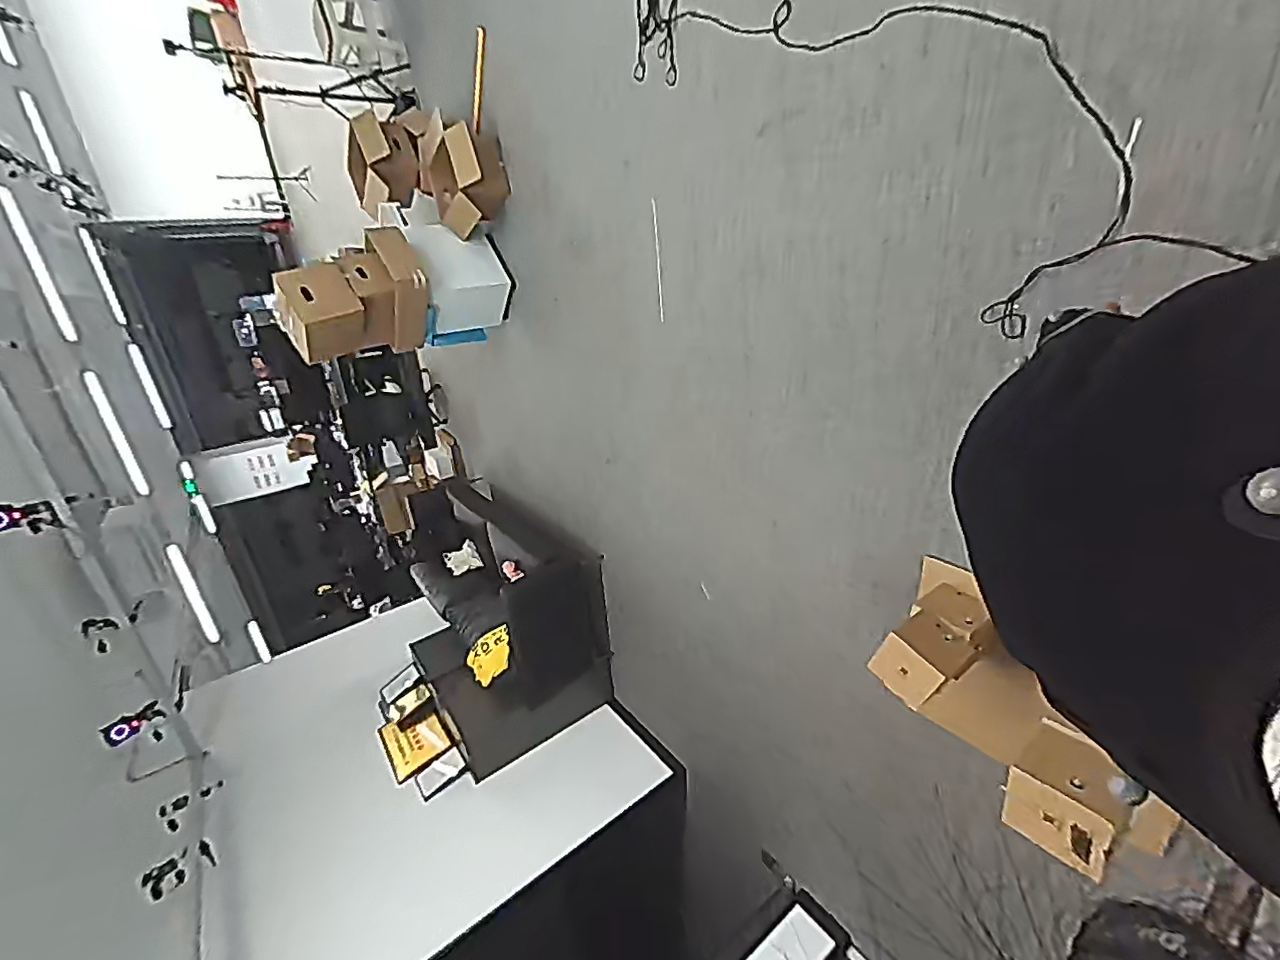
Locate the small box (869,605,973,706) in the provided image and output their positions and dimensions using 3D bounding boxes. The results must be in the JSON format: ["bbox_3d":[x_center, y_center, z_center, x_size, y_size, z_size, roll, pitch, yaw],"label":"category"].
[{"bbox_3d":[0.784,0.485,1.508,0.168,0.176,0.179,45,141,35],"label":"small box"}]

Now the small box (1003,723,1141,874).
[{"bbox_3d":[0.896,0.648,1.124,0.179,0.176,0.168,21,125,51],"label":"small box"}]
